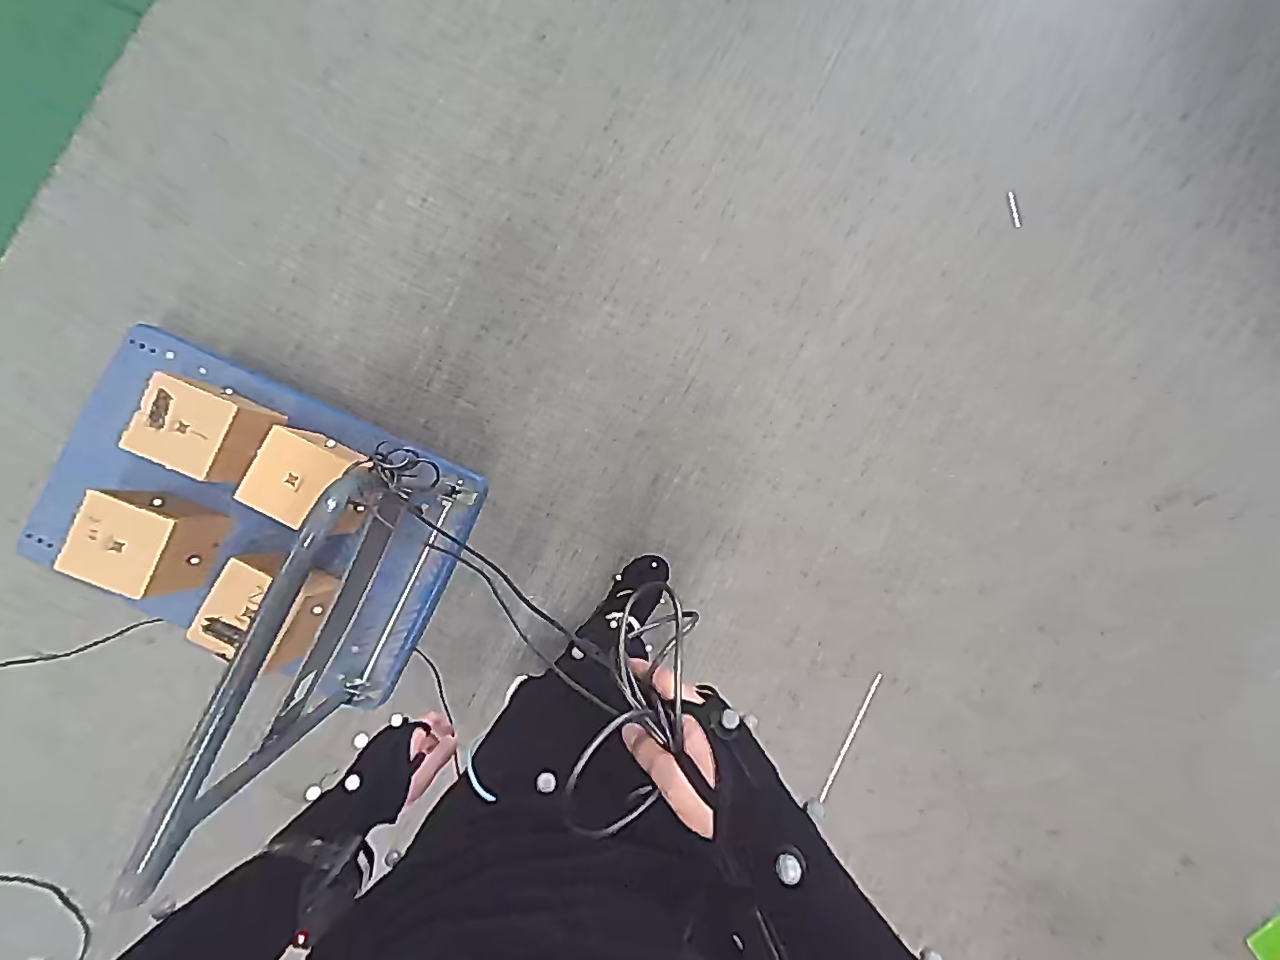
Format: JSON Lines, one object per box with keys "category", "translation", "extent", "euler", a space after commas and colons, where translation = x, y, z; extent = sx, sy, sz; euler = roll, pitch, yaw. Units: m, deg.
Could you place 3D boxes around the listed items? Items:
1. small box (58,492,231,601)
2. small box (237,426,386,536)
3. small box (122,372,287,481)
{"category": "small box", "translation": [-1.007, 0.130, 1.119], "extent": [0.179, 0.176, 0.168], "euler": [22, 86, -2]}
{"category": "small box", "translation": [-0.679, 0.007, 1.139], "extent": [0.179, 0.176, 0.168], "euler": [27, 87, -2]}
{"category": "small box", "translation": [-0.896, -0.101, 1.132], "extent": [0.179, 0.176, 0.168], "euler": [24, 88, -3]}
